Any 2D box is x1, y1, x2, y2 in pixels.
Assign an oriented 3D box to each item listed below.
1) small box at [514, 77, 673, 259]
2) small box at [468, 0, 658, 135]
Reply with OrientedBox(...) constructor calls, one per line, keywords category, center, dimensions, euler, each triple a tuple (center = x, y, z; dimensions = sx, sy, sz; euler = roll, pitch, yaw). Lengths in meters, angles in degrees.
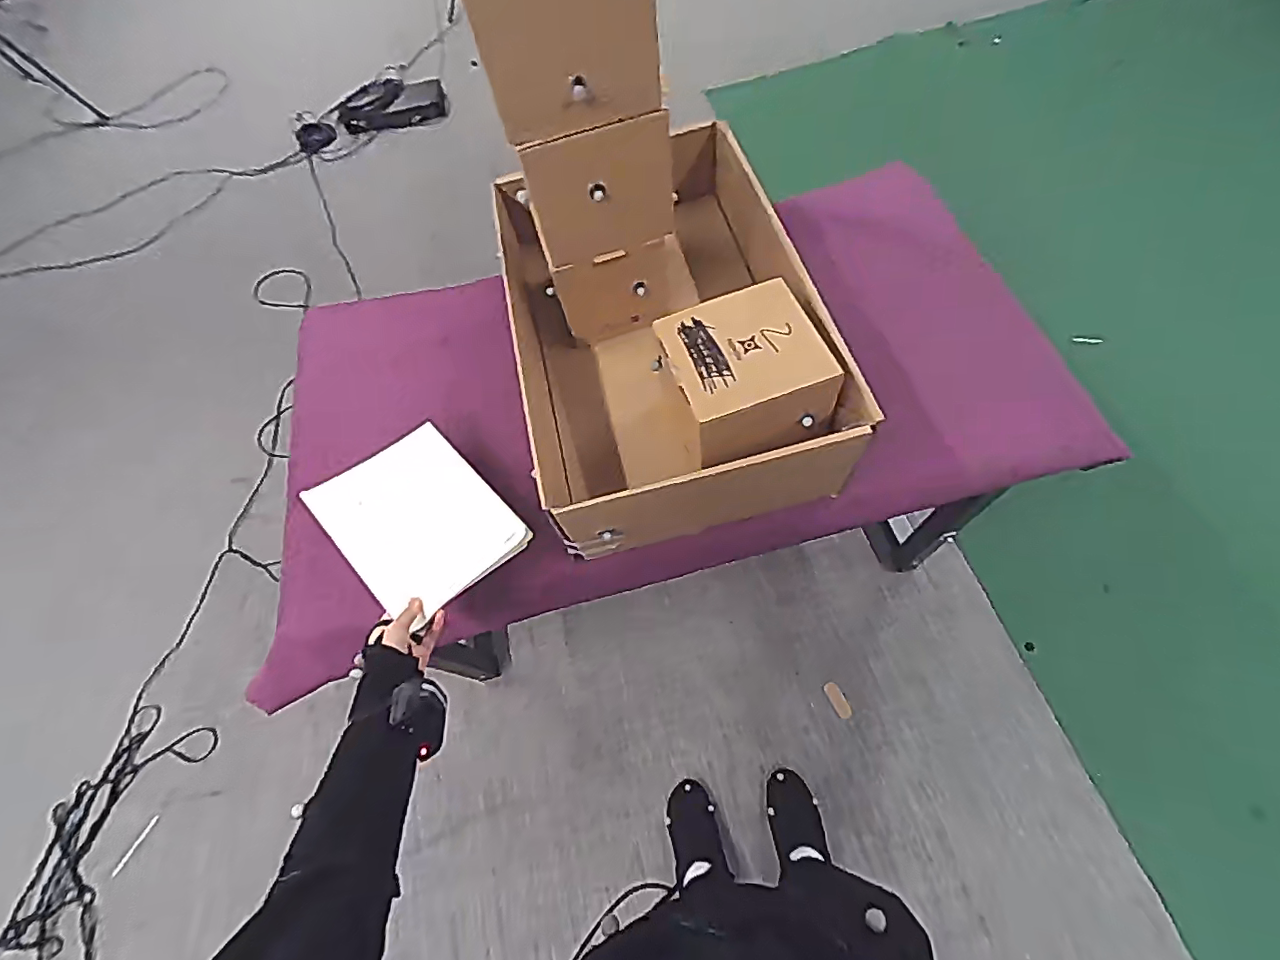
OrientedBox(category="small box", center=(-0.062, -0.419, 0.690), dimensions=(0.179, 0.176, 0.168), euler=(-17, 64, -2))
OrientedBox(category="small box", center=(-0.081, -0.490, 0.544), dimensions=(0.179, 0.176, 0.168), euler=(-14, 64, -2))
